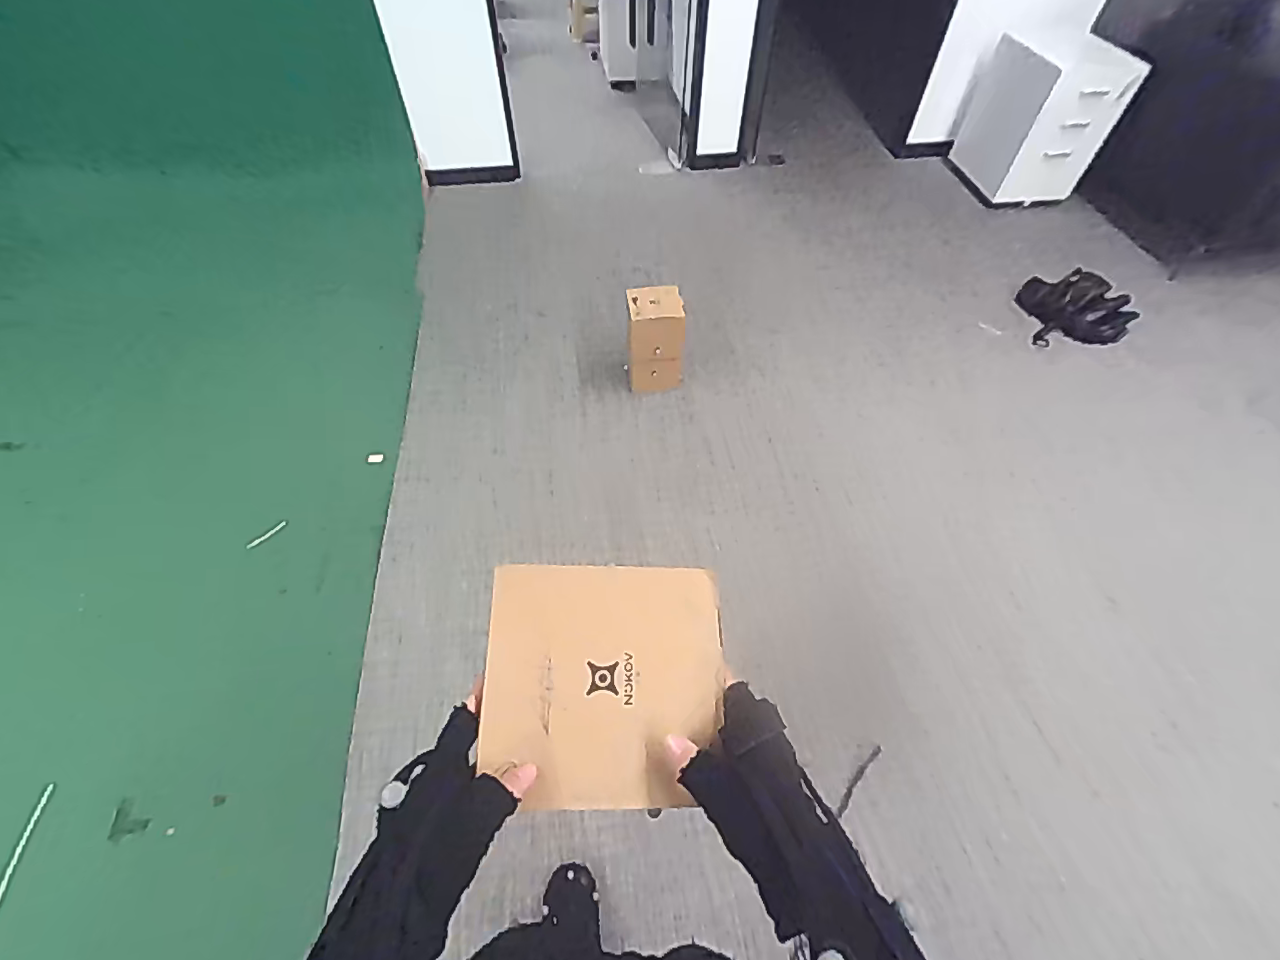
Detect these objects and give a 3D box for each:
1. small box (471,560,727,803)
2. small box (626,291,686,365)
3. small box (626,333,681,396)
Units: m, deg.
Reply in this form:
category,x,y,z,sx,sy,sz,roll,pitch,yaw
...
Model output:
category,x,y,z,sx,sy,sz,roll,pitch,yaw
small box,-0.036,0.171,0.466,0.179,0.176,0.168,1,65,-6
small box,0.048,-0.510,1.821,0.179,0.176,0.168,-8,56,-5
small box,0.047,-0.425,1.958,0.179,0.176,0.168,-8,54,-4
